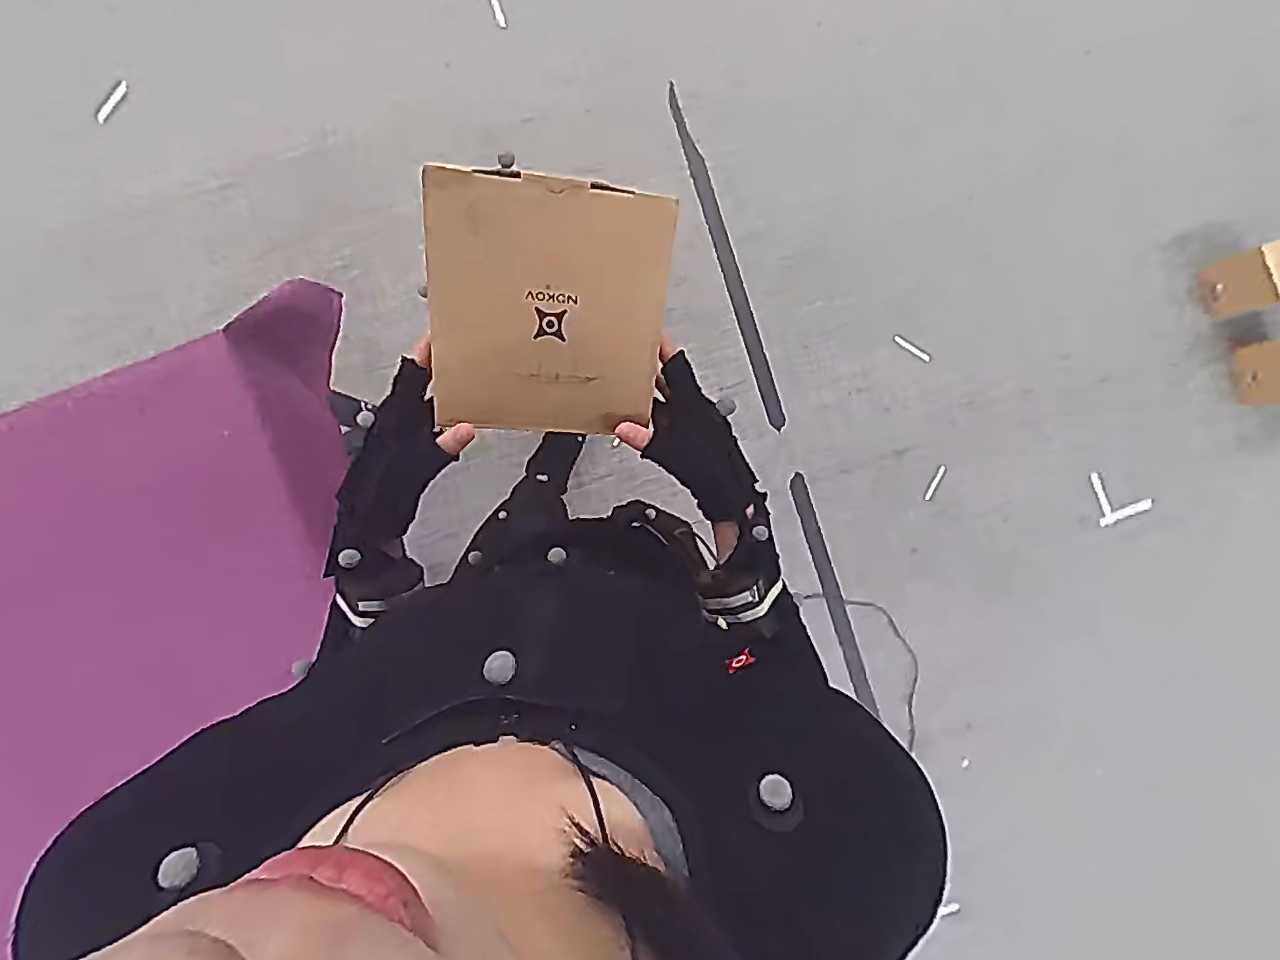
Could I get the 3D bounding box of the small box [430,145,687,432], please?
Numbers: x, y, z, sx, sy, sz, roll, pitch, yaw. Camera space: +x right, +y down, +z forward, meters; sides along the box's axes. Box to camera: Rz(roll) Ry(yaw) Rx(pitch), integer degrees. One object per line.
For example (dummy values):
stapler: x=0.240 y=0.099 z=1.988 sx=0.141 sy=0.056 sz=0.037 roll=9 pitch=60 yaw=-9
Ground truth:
small box: x=-0.071 y=-0.157 z=0.446 sx=0.168 sy=0.176 sz=0.179 roll=4 pitch=118 yaw=-10

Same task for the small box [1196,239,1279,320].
small box: x=1.780 y=-0.584 z=1.551 sx=0.179 sy=0.176 sz=0.168 roll=-19 pitch=89 yaw=-2

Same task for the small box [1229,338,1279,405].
small box: x=1.867 y=-0.321 z=1.547 sx=0.168 sy=0.176 sz=0.179 roll=-16 pitch=90 yaw=-3
